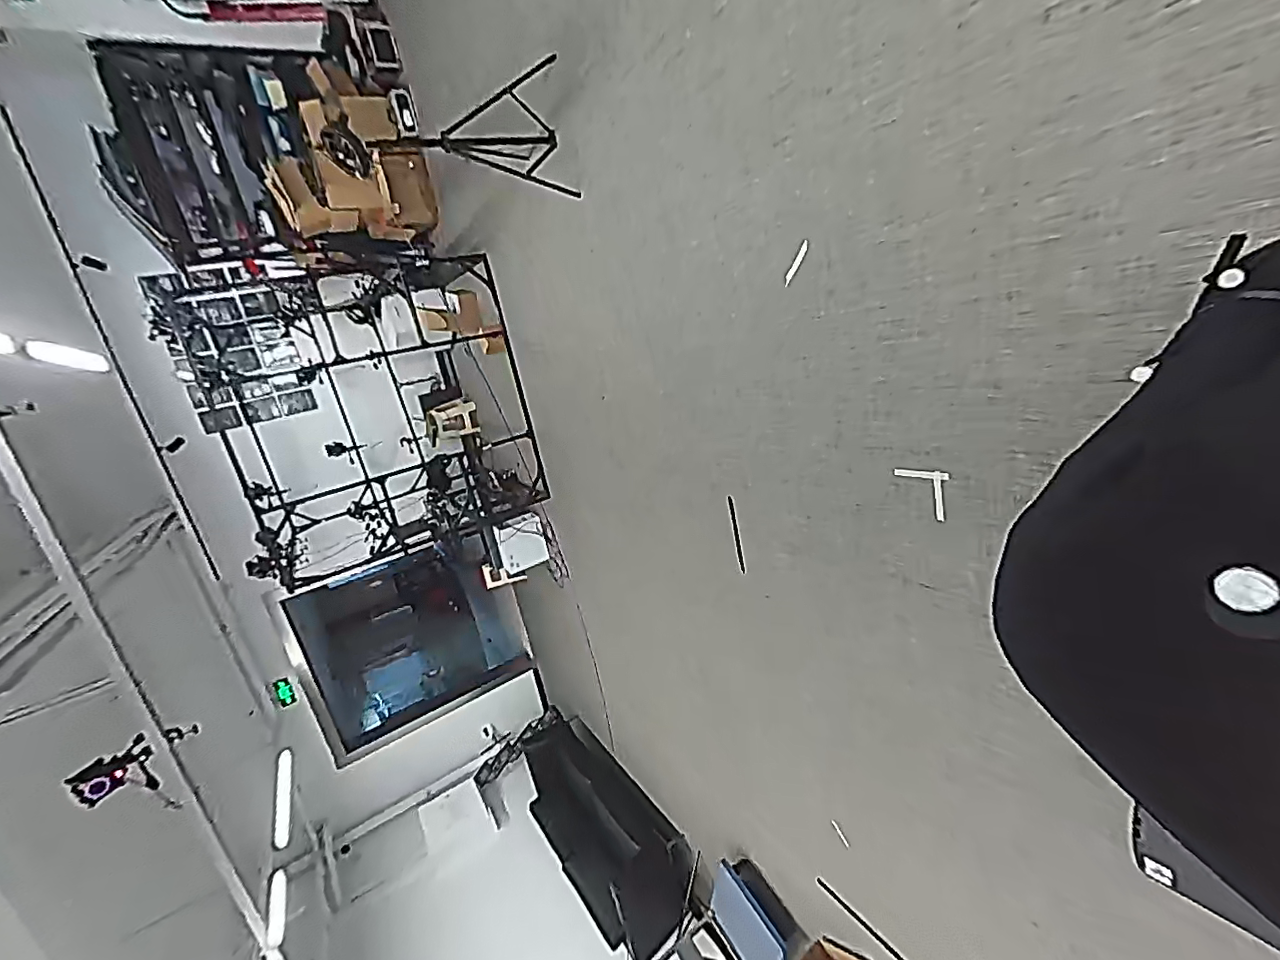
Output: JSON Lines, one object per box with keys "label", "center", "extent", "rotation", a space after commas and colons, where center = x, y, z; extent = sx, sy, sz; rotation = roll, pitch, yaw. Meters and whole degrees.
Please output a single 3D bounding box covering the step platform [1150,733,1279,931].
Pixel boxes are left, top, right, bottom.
{"label": "step platform", "center": [1.410, 0.784, 0.997], "extent": [0.684, 0.204, 0.286], "rotation": [14, 120, 59]}
